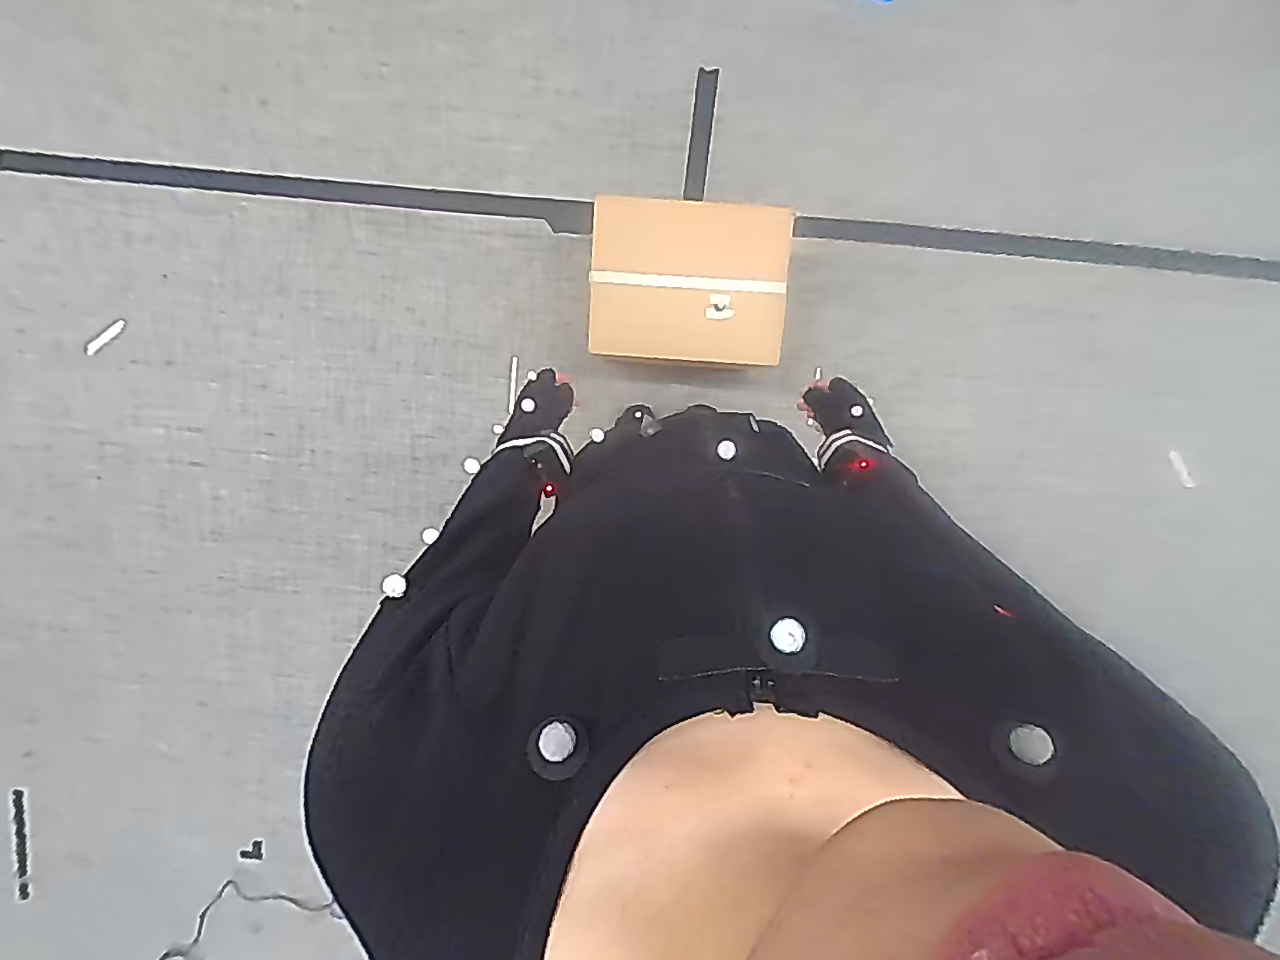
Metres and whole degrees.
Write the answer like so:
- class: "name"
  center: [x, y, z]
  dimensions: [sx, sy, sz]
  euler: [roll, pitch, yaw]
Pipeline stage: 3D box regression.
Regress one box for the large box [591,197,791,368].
- class: "large box"
  center: [0.097, -0.432, 1.257]
  dimensions: [0.408, 0.320, 0.320]
  euler: [3, 100, -2]
